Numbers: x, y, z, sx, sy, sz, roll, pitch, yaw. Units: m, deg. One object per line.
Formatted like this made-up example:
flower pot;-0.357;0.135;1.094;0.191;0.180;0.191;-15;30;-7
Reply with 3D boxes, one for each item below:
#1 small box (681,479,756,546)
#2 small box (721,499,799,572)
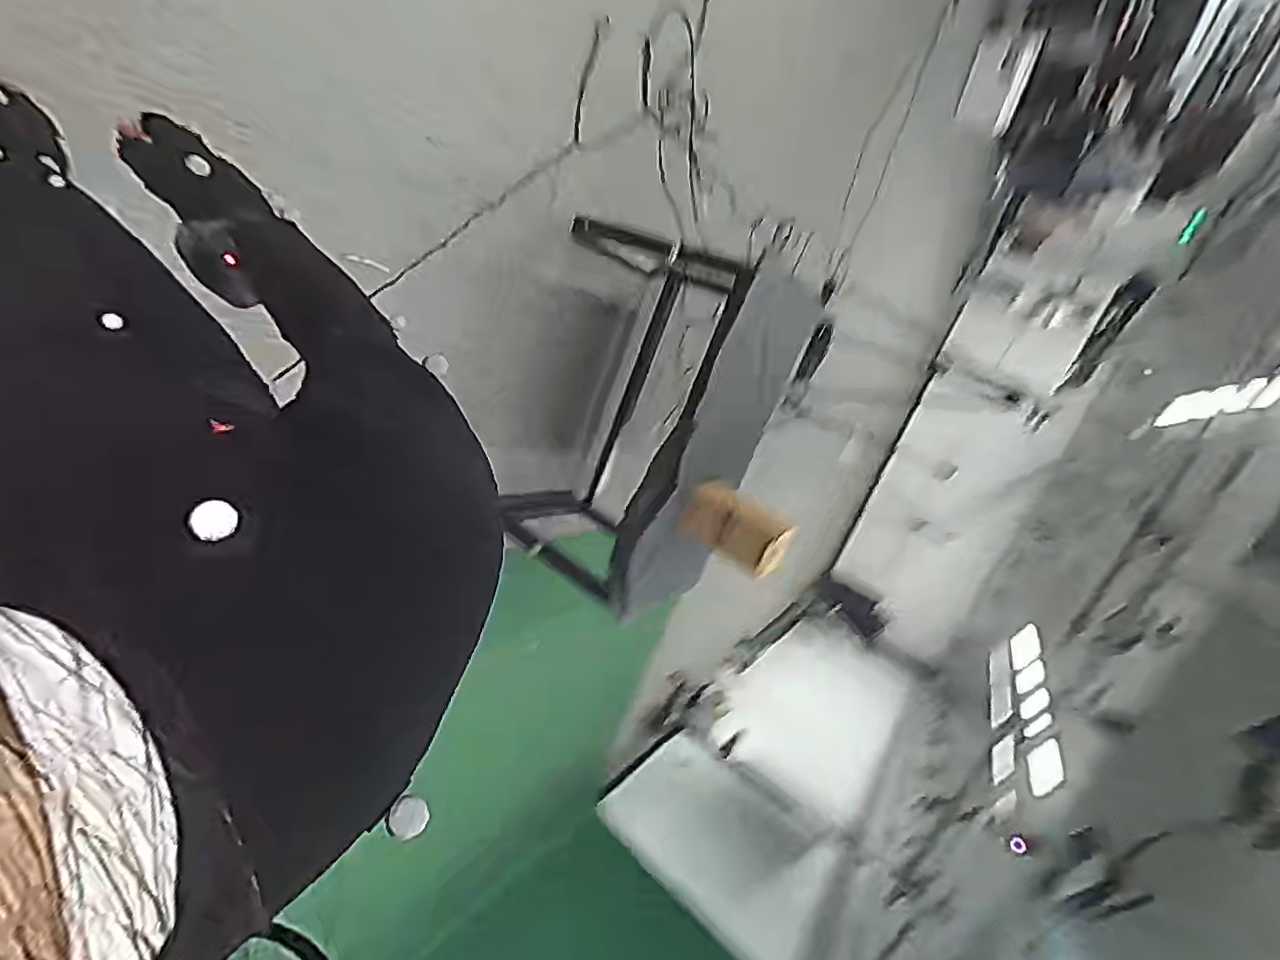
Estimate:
small box;0.273;0.107;1.874;0.179;0.176;0.168;-9;122;-56
small box;0.392;0.177;1.784;0.179;0.176;0.168;-10;125;-56
